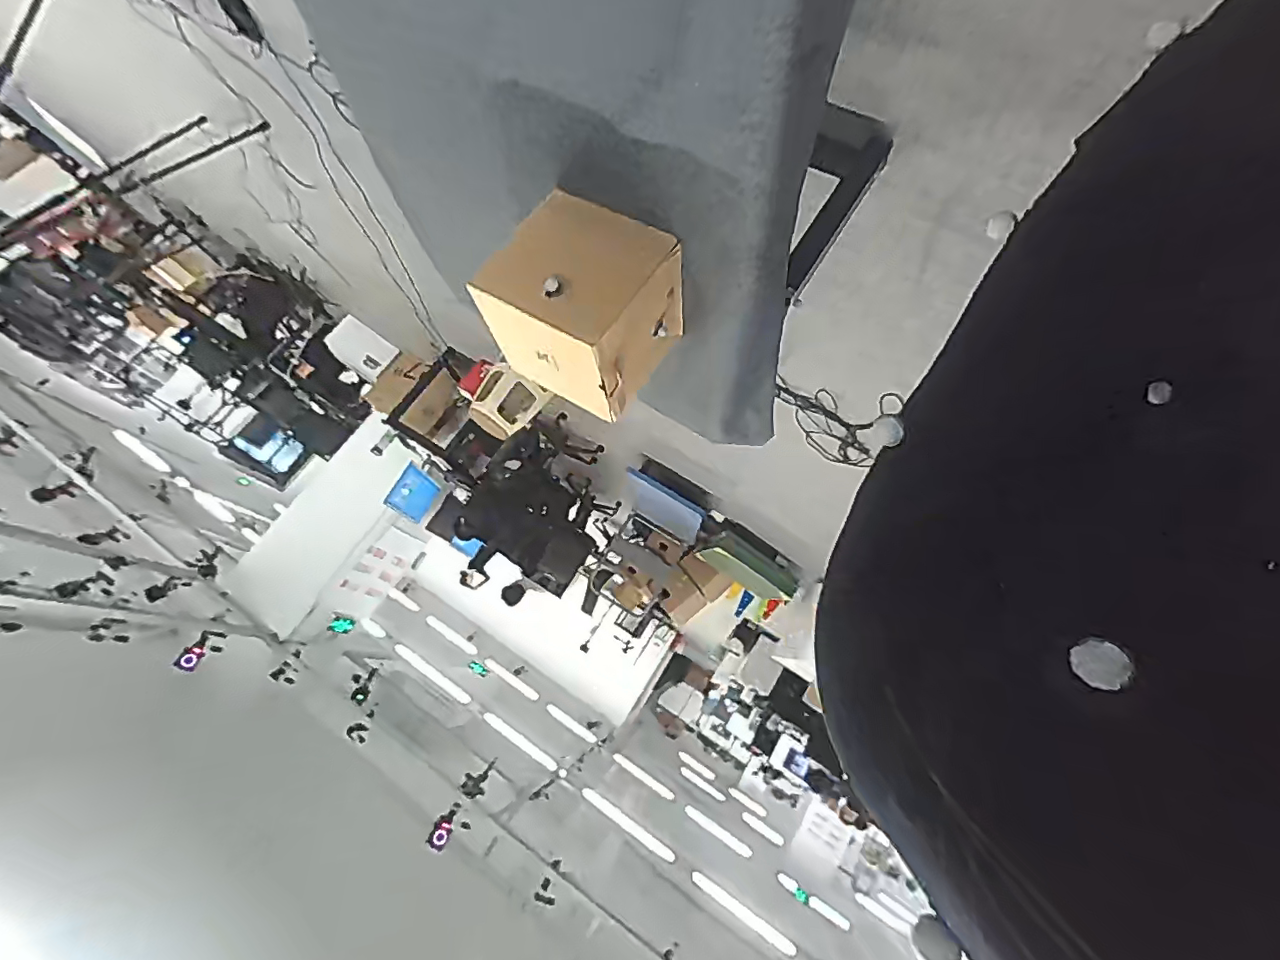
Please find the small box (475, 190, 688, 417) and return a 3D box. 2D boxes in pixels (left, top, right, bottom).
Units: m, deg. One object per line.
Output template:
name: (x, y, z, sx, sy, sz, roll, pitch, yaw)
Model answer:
small box: (-0.059, -0.215, 0.660, 0.179, 0.176, 0.168, 30, 163, 16)
